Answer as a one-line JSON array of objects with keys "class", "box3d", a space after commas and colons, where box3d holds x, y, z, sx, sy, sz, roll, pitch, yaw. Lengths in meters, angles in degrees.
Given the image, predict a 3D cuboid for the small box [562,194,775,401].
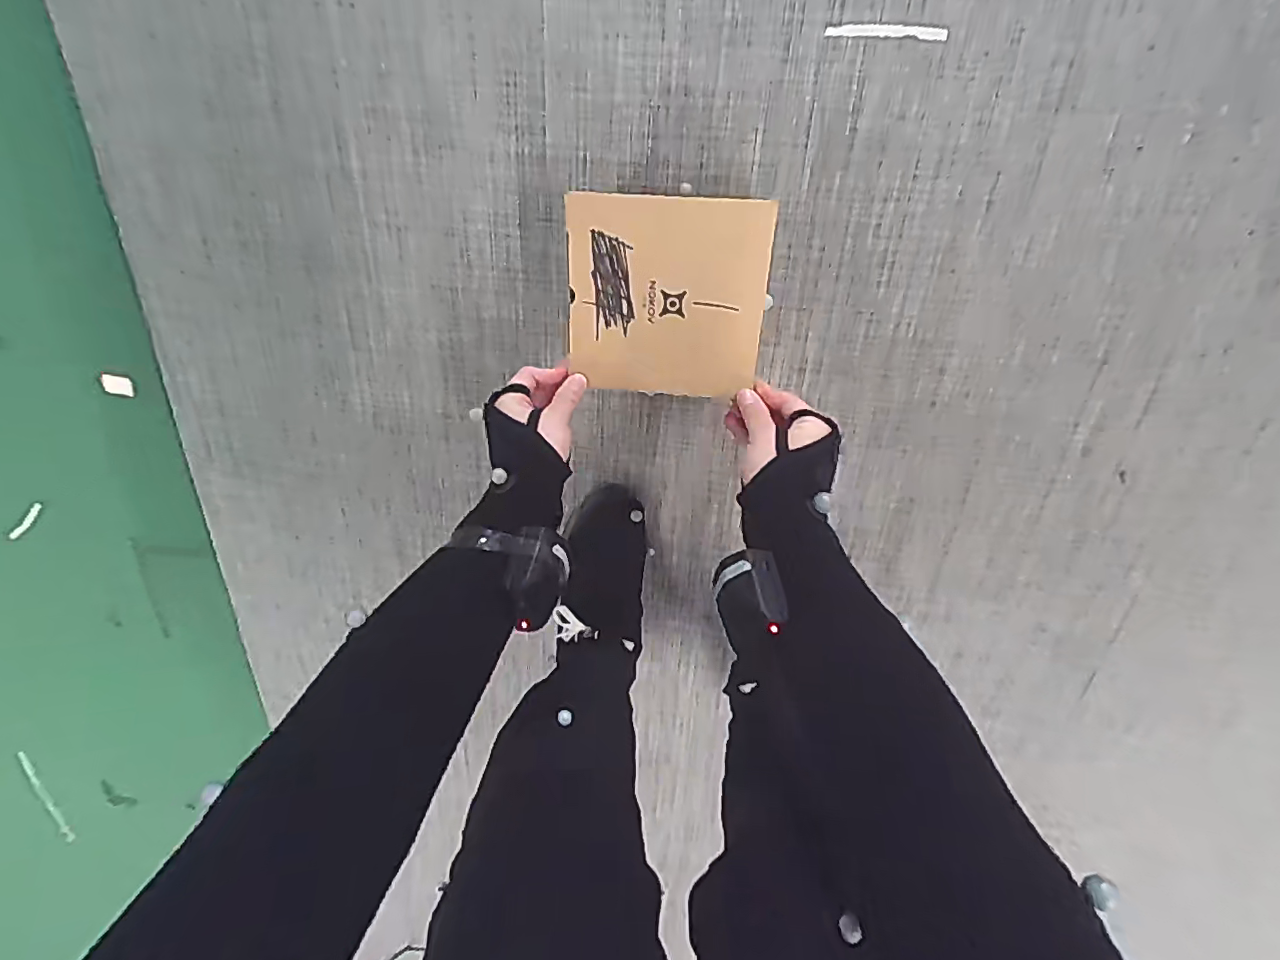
[{"class": "small box", "box3d": [0.028, -0.185, 0.543, 0.179, 0.176, 0.168, 4, 114, 5]}]
